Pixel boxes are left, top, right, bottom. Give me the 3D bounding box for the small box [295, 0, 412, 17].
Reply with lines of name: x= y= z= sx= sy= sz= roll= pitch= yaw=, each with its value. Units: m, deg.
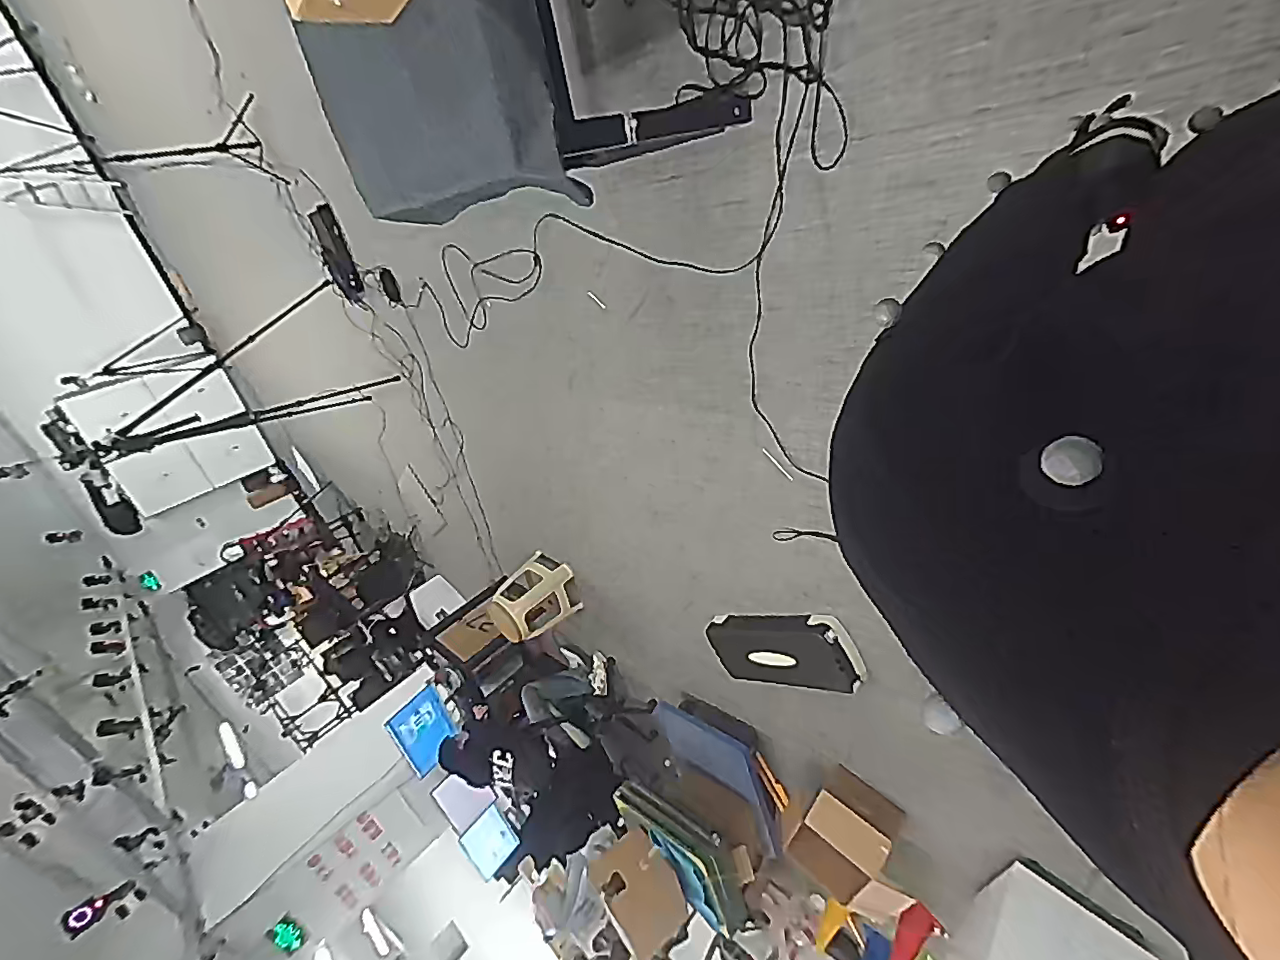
small box: x=-0.425 y=-0.806 z=0.781 sx=0.179 sy=0.176 sz=0.168 roll=8 pitch=125 yaw=46
